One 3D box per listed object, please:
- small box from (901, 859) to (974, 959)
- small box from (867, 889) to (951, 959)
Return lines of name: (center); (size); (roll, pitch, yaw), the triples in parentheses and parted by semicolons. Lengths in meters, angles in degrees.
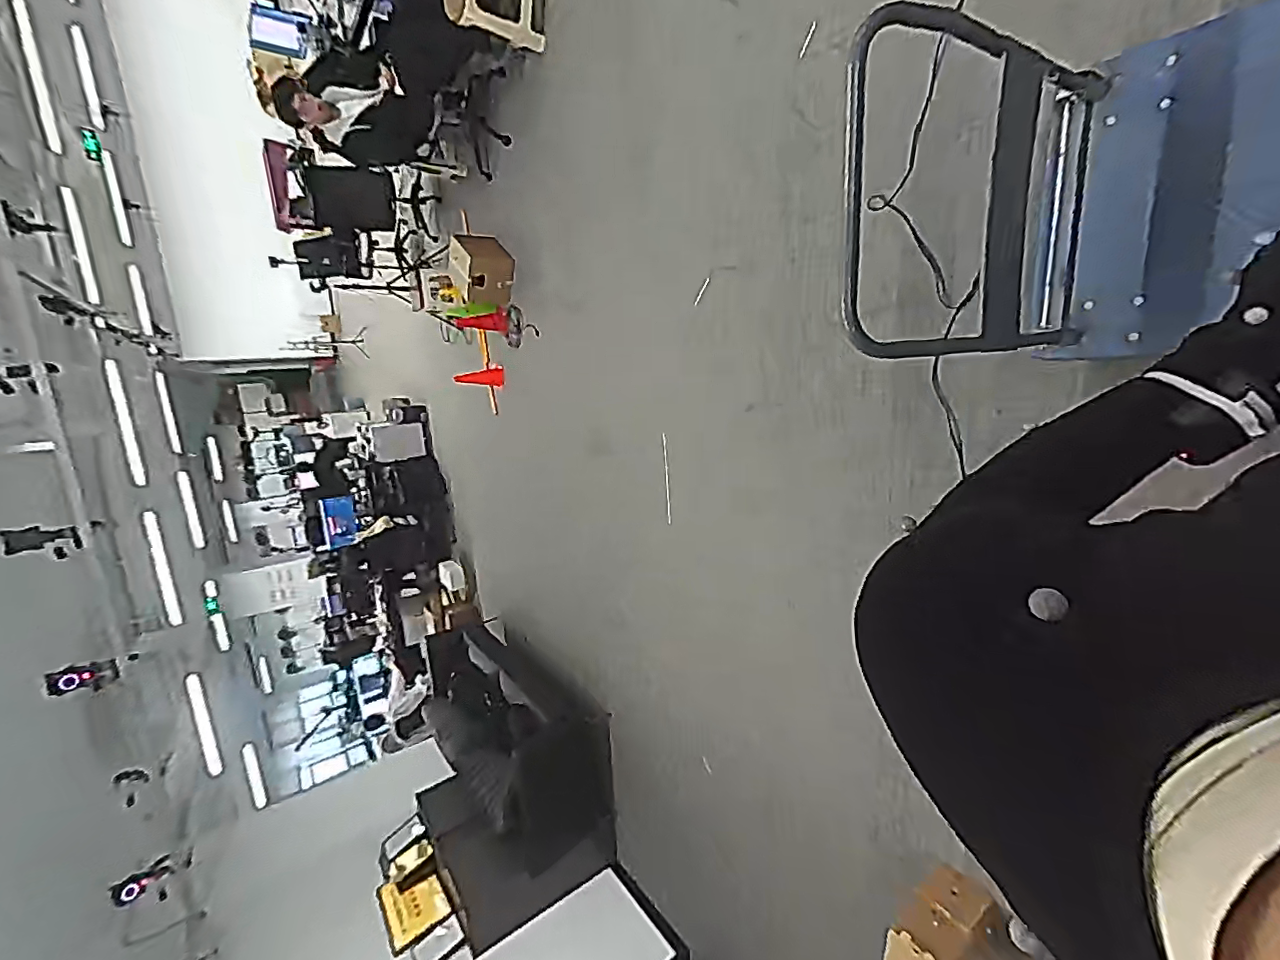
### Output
small box: (0.968, 1.401, 1.770); (0.168, 0.176, 0.179); (17, 113, 51)
small box: (0.836, 1.438, 1.677); (0.168, 0.176, 0.179); (23, 118, 48)
